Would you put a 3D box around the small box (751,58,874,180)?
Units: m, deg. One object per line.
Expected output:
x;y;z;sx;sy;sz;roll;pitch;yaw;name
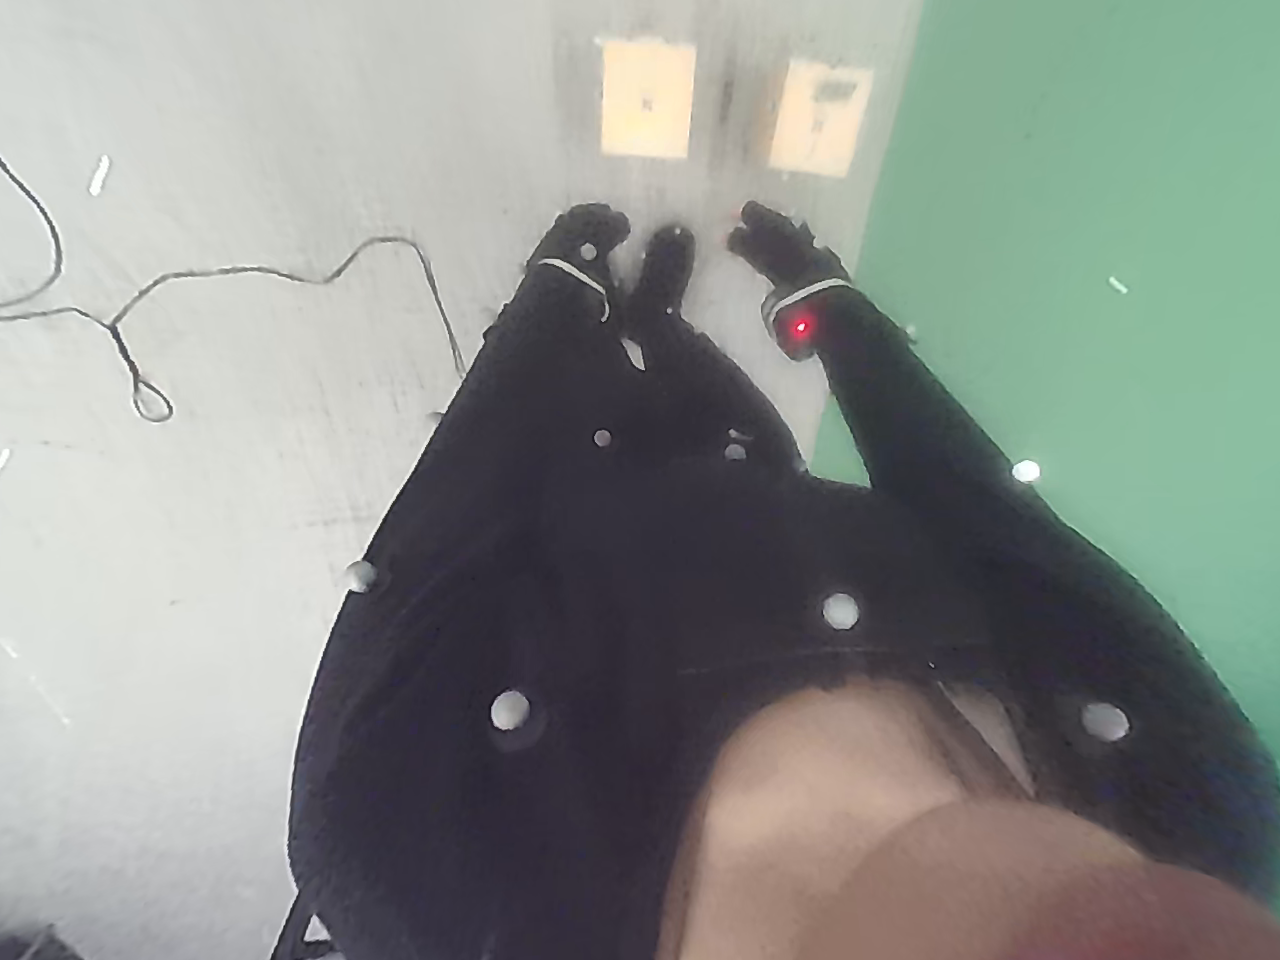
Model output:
0.334;-0.717;1.088;0.168;0.176;0.179;4;121;-6;small box

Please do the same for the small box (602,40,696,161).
0.009;-0.730;1.057;0.168;0.176;0.179;0;120;-5;small box
